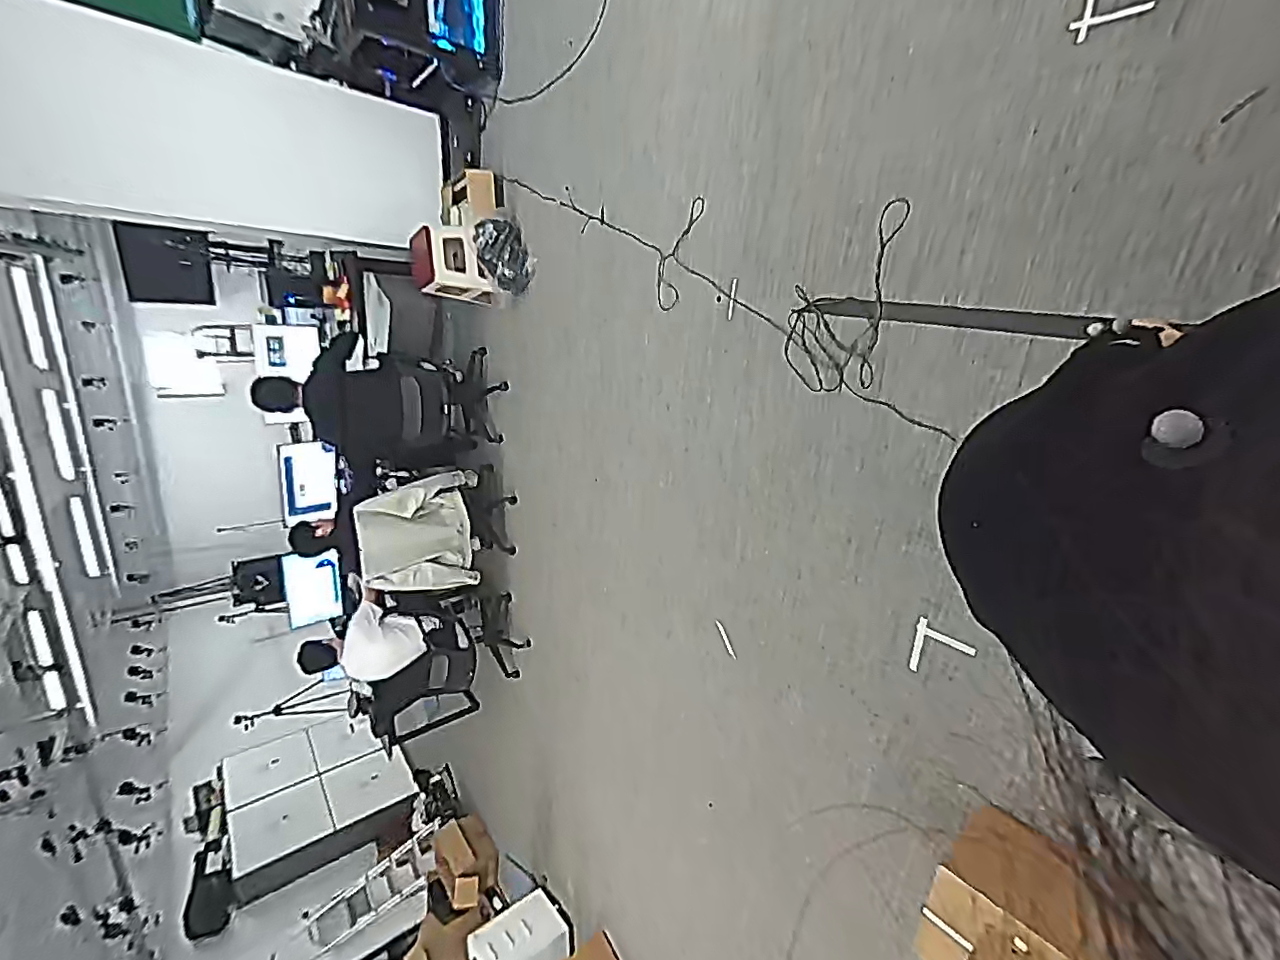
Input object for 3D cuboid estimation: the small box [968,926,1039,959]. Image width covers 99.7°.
[{"bbox_3d":[0.782,1.119,1.144,0.168,0.176,0.179,21,113,47],"label":"small box"}]
